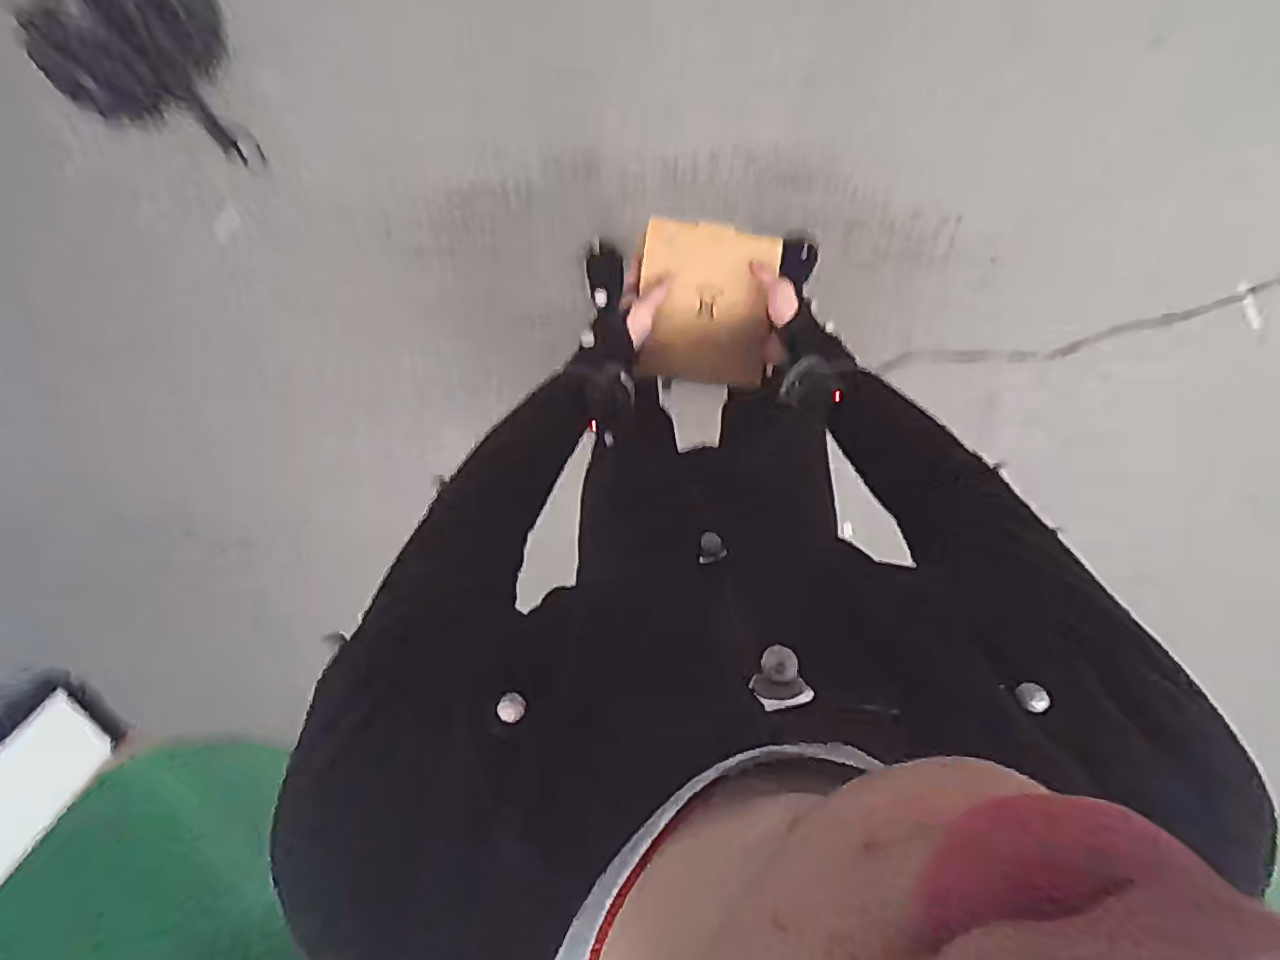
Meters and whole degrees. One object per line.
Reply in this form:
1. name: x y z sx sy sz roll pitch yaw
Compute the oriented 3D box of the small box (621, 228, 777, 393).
1. small box: 0.068 -0.216 0.736 0.168 0.176 0.179 6 99 -8
